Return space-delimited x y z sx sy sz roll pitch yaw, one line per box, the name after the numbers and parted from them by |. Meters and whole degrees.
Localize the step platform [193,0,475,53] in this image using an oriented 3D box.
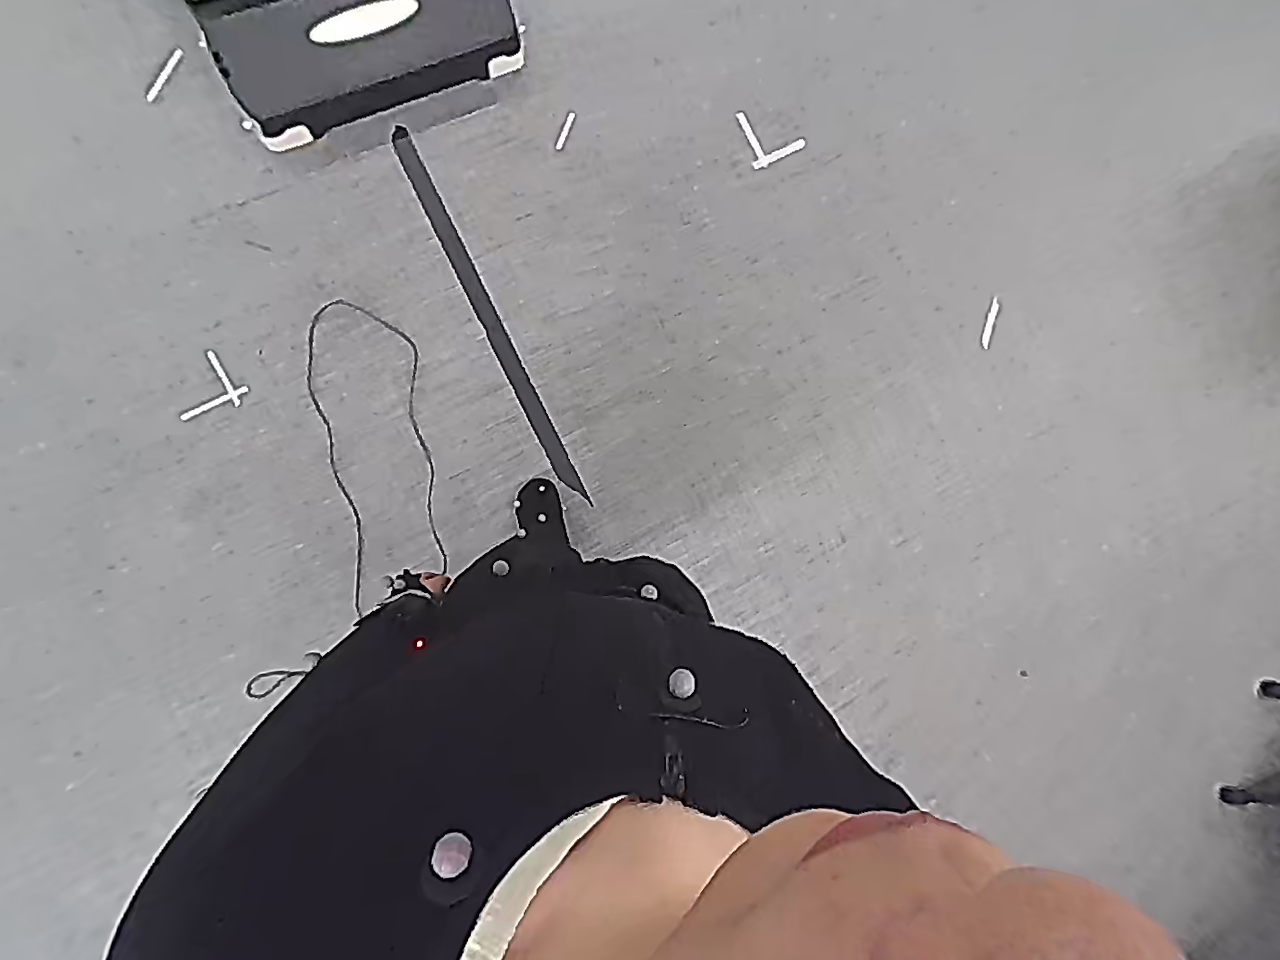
-0.715 -1.264 1.251 0.684 0.204 0.286 -22 91 -11 | step platform
